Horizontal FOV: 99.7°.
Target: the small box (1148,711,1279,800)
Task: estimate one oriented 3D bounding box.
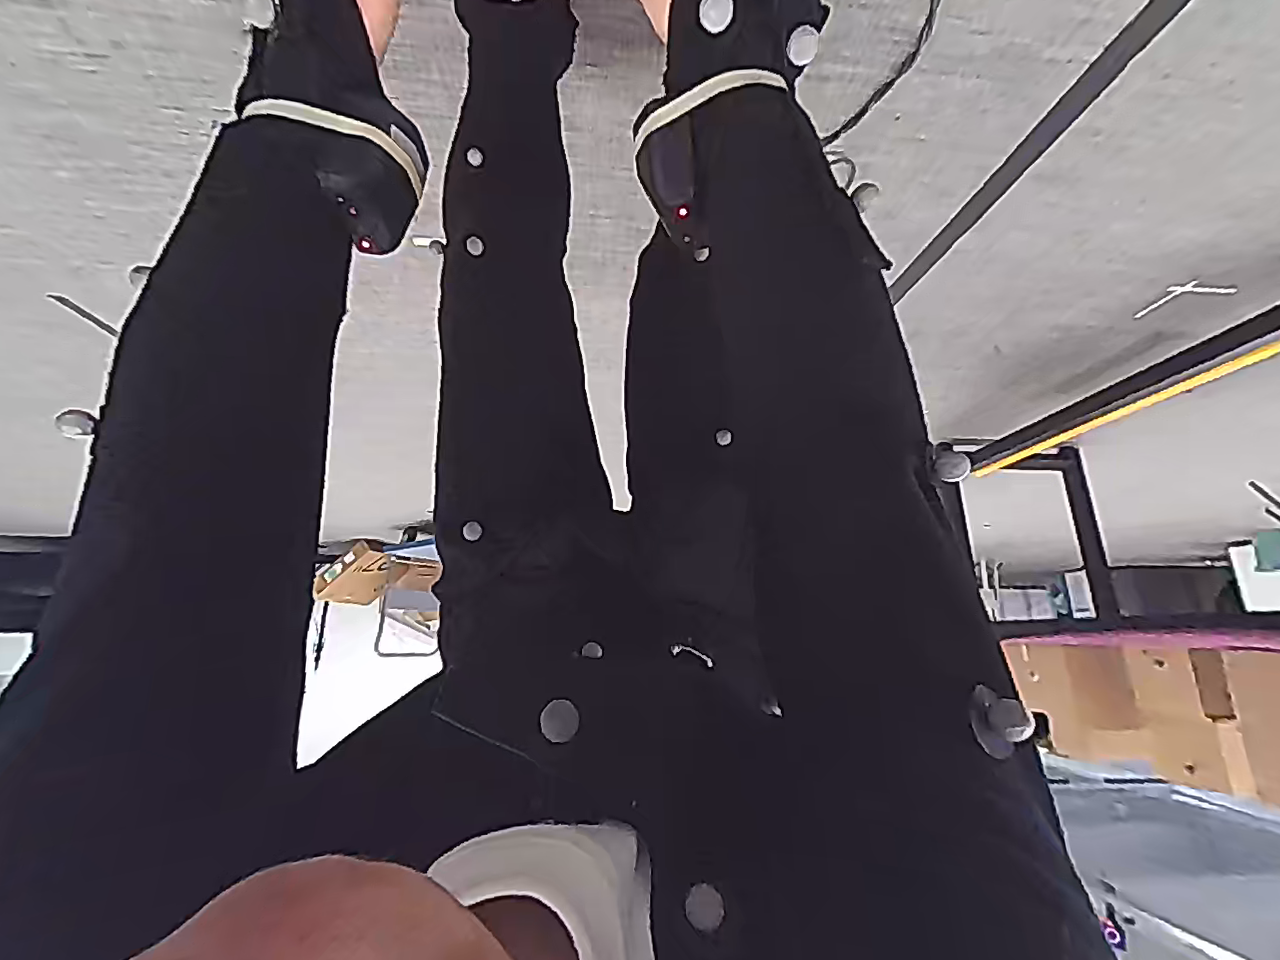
[{"bbox_3d":[1.396,0.660,1.314,0.168,0.176,0.179,2,163,-6],"label":"small box"}]

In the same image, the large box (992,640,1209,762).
[{"bbox_3d":[1.402,0.664,1.667,0.408,0.320,0.320,0,164,-5],"label":"large box"}]
